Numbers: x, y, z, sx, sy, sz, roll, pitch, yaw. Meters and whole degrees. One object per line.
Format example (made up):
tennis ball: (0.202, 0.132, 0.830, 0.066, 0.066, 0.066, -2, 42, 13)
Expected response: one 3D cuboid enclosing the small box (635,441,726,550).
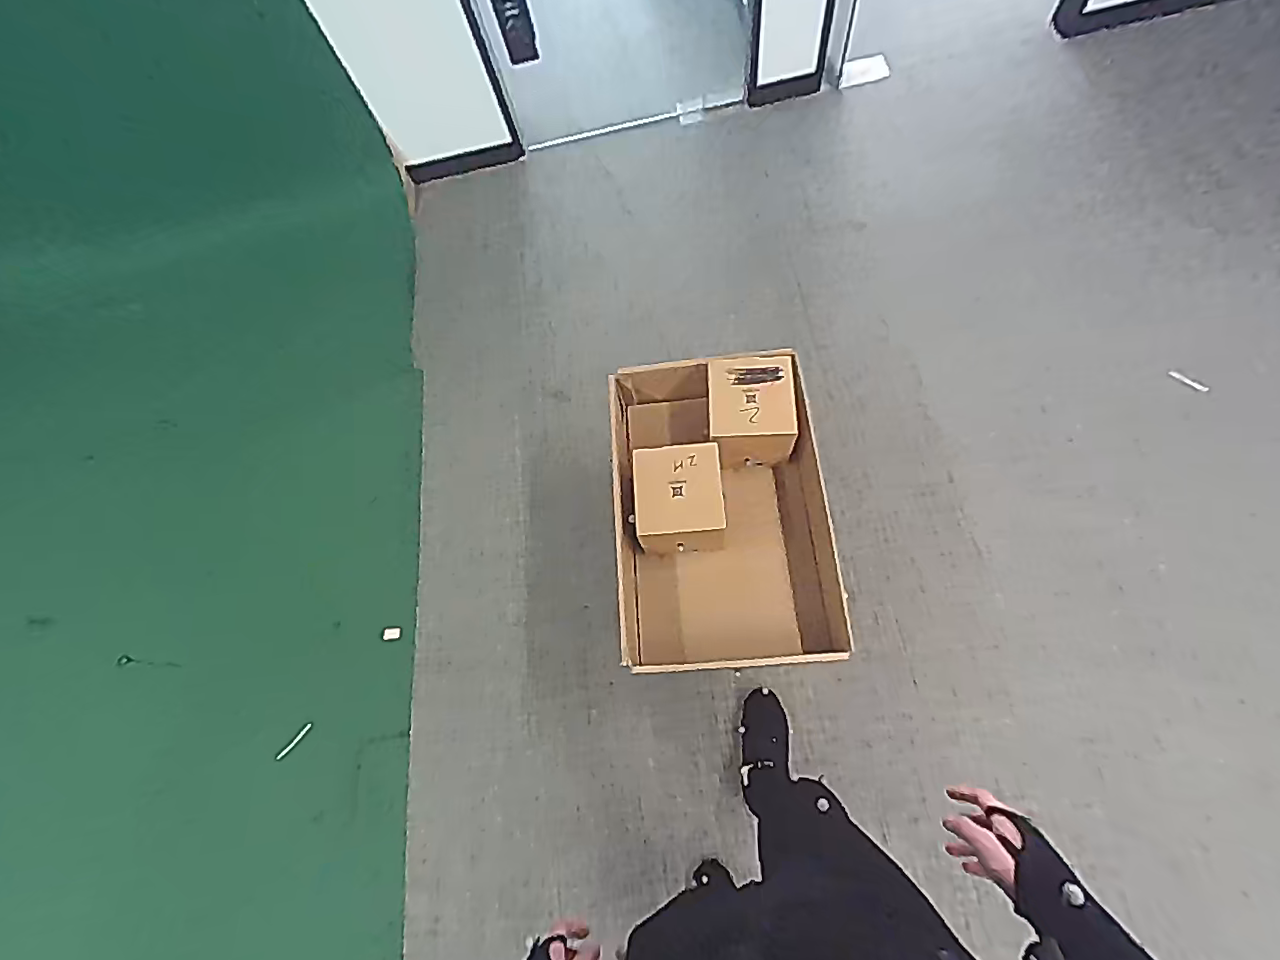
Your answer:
small box: (0.082, 0.039, 1.072, 0.168, 0.176, 0.179, -4, 69, 5)
